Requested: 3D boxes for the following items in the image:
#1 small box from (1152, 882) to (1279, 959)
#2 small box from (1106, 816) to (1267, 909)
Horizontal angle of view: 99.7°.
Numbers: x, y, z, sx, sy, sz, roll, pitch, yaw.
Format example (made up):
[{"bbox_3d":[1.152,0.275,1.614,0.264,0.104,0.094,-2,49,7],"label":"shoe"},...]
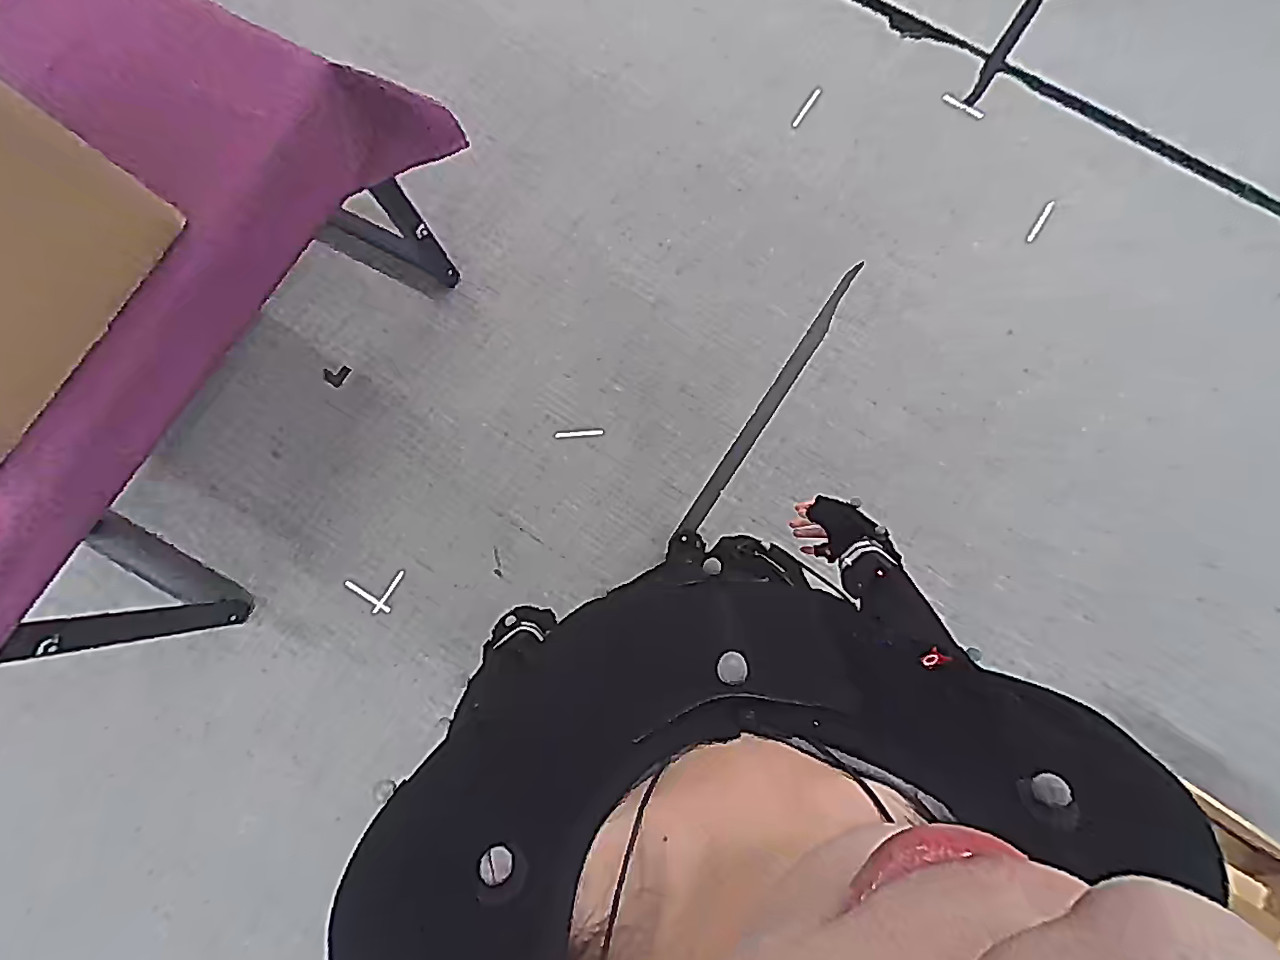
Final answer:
[{"bbox_3d":[1.217,0.985,1.108,0.179,0.176,0.168,-23,85,-4],"label":"small box"},{"bbox_3d":[1.277,0.943,1.277,0.179,0.176,0.168,31,84,5],"label":"small box"}]
